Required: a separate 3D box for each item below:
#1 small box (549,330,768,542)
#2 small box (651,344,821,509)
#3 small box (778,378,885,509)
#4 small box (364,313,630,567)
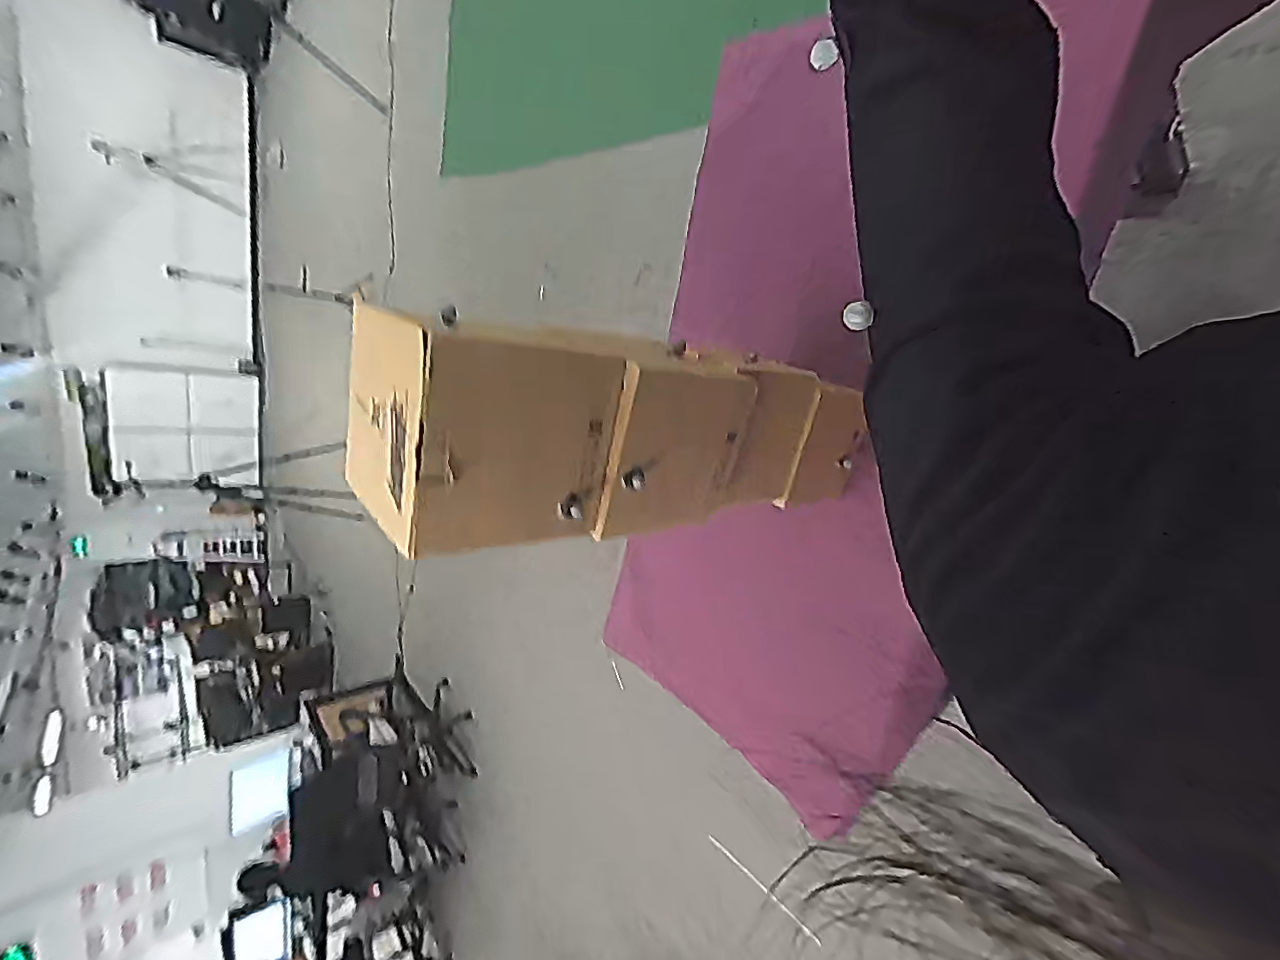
[{"bbox_3d":[0.002,-0.051,0.580,0.179,0.176,0.168,33,117,43],"label":"small box"},{"bbox_3d":[0.109,-0.067,0.705,0.168,0.176,0.179,29,114,43],"label":"small box"},{"bbox_3d":[0.229,-0.069,0.814,0.179,0.176,0.168,30,116,42],"label":"small box"},{"bbox_3d":[-0.130,-0.045,0.482,0.179,0.176,0.168,28,113,45],"label":"small box"}]
